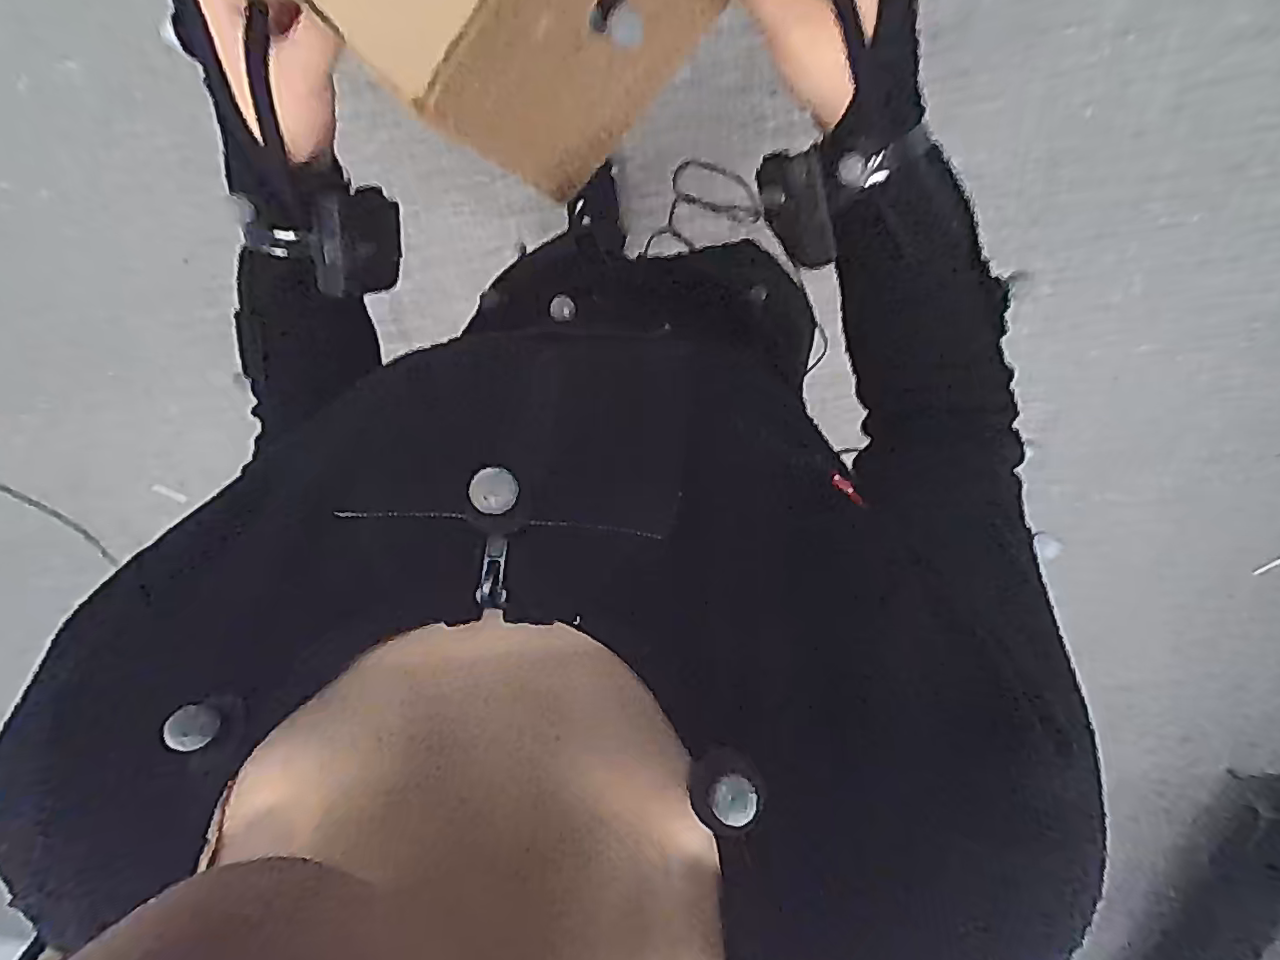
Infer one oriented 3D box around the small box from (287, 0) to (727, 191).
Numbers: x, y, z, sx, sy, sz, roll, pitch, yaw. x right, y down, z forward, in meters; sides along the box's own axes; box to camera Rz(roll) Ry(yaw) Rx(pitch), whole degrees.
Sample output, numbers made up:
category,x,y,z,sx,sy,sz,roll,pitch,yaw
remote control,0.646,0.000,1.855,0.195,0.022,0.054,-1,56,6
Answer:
category,x,y,z,sx,sy,sz,roll,pitch,yaw
small box,-0.057,-0.252,0.216,0.168,0.176,0.179,45,110,-6
